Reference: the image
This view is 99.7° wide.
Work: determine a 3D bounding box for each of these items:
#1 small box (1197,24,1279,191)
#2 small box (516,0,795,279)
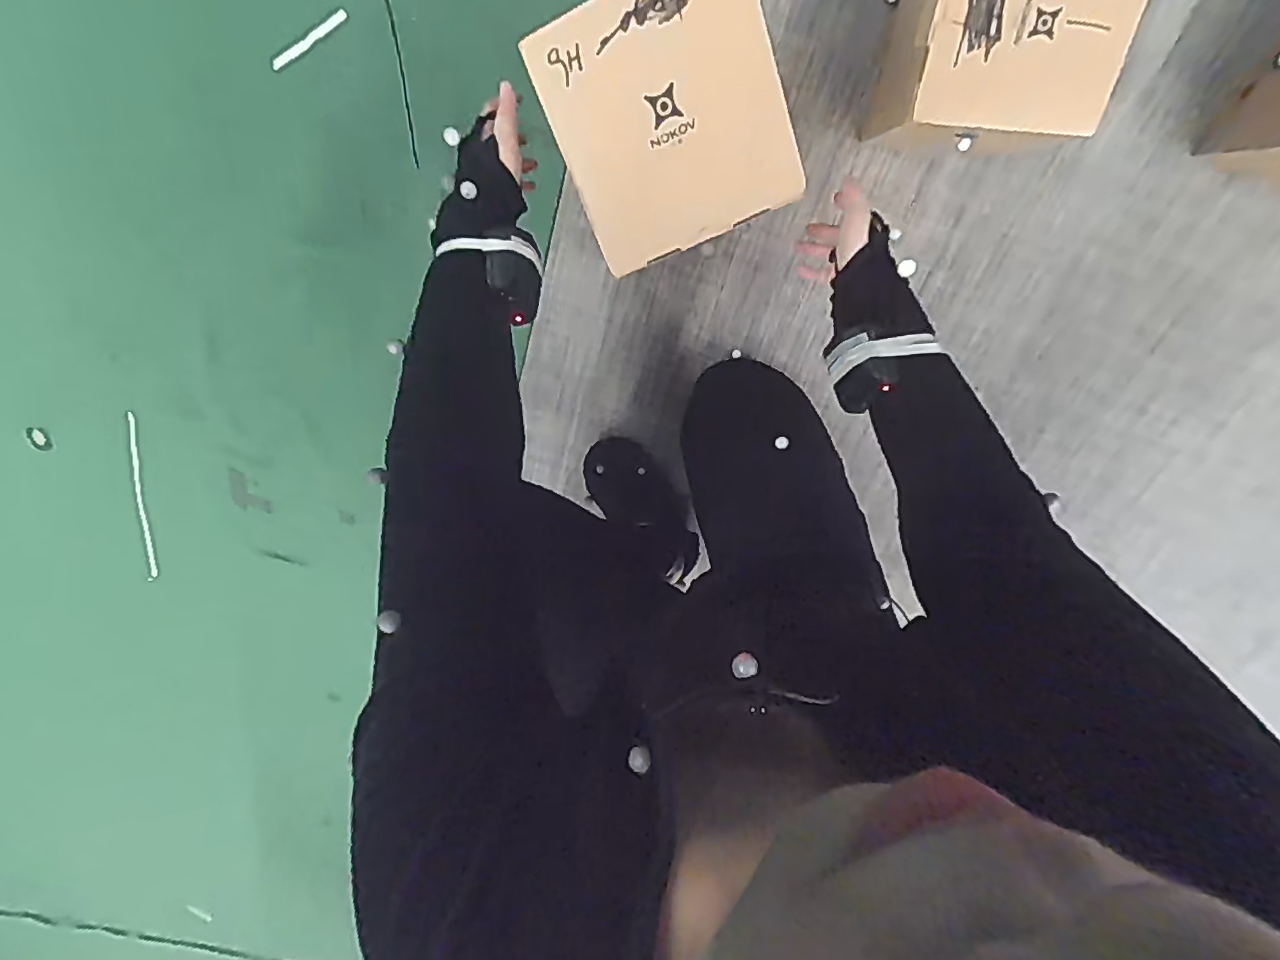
[{"bbox_3d":[0.746,-0.388,0.533,0.179,0.176,0.168,18,116,-3],"label":"small box"},{"bbox_3d":[0.023,-0.299,0.472,0.168,0.176,0.179,-18,113,13],"label":"small box"}]
